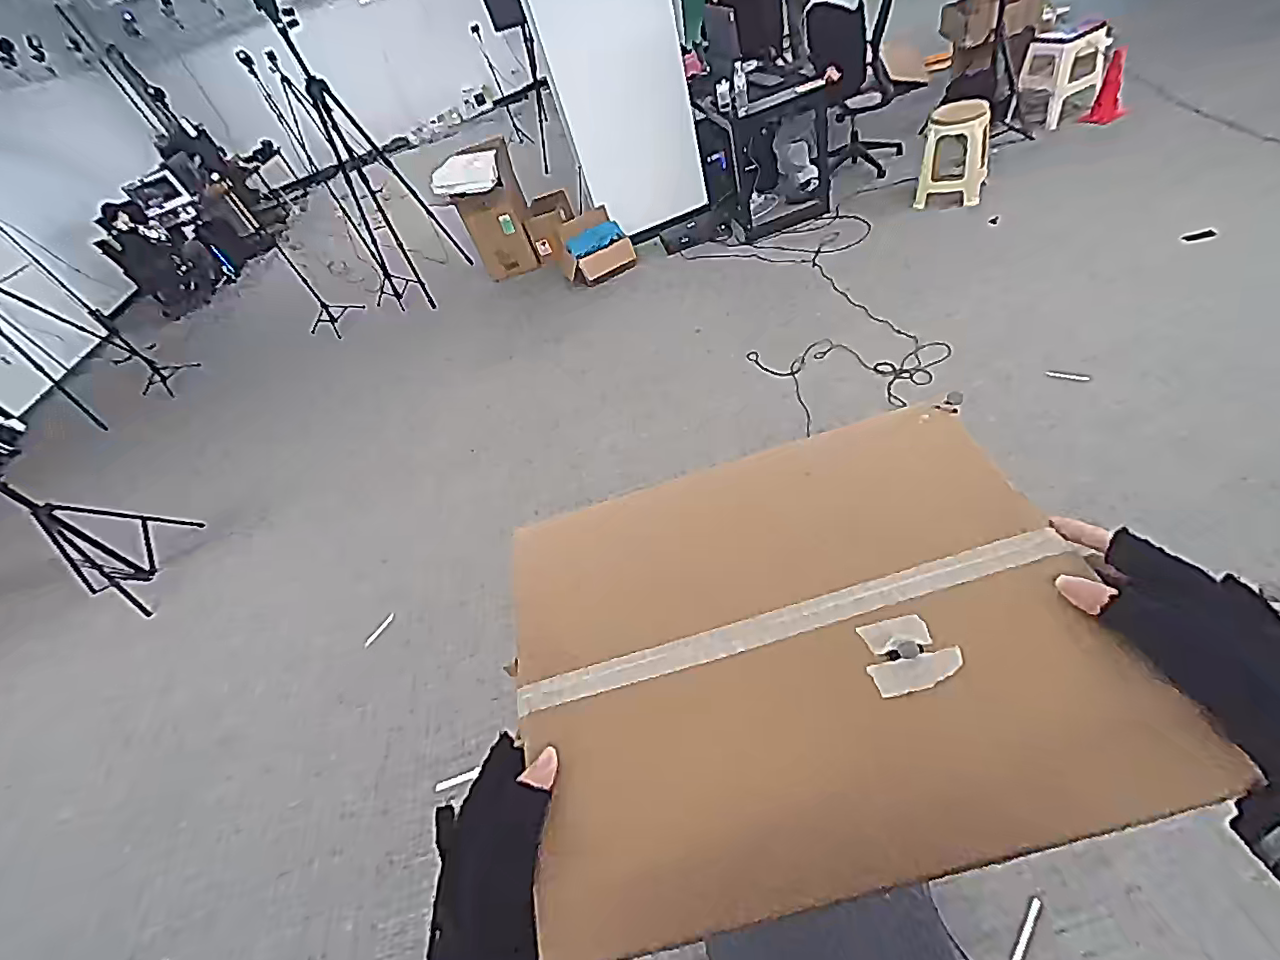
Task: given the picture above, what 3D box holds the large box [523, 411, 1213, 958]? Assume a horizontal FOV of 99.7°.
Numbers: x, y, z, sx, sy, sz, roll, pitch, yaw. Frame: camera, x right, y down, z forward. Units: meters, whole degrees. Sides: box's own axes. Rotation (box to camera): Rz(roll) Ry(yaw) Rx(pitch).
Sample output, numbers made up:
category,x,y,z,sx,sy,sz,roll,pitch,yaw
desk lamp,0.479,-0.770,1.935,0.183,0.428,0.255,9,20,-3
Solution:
category,x,y,z,sx,sy,sz,roll,pitch,yaw
large box,0.141,0.199,0.522,0.408,0.320,0.320,-18,51,3
